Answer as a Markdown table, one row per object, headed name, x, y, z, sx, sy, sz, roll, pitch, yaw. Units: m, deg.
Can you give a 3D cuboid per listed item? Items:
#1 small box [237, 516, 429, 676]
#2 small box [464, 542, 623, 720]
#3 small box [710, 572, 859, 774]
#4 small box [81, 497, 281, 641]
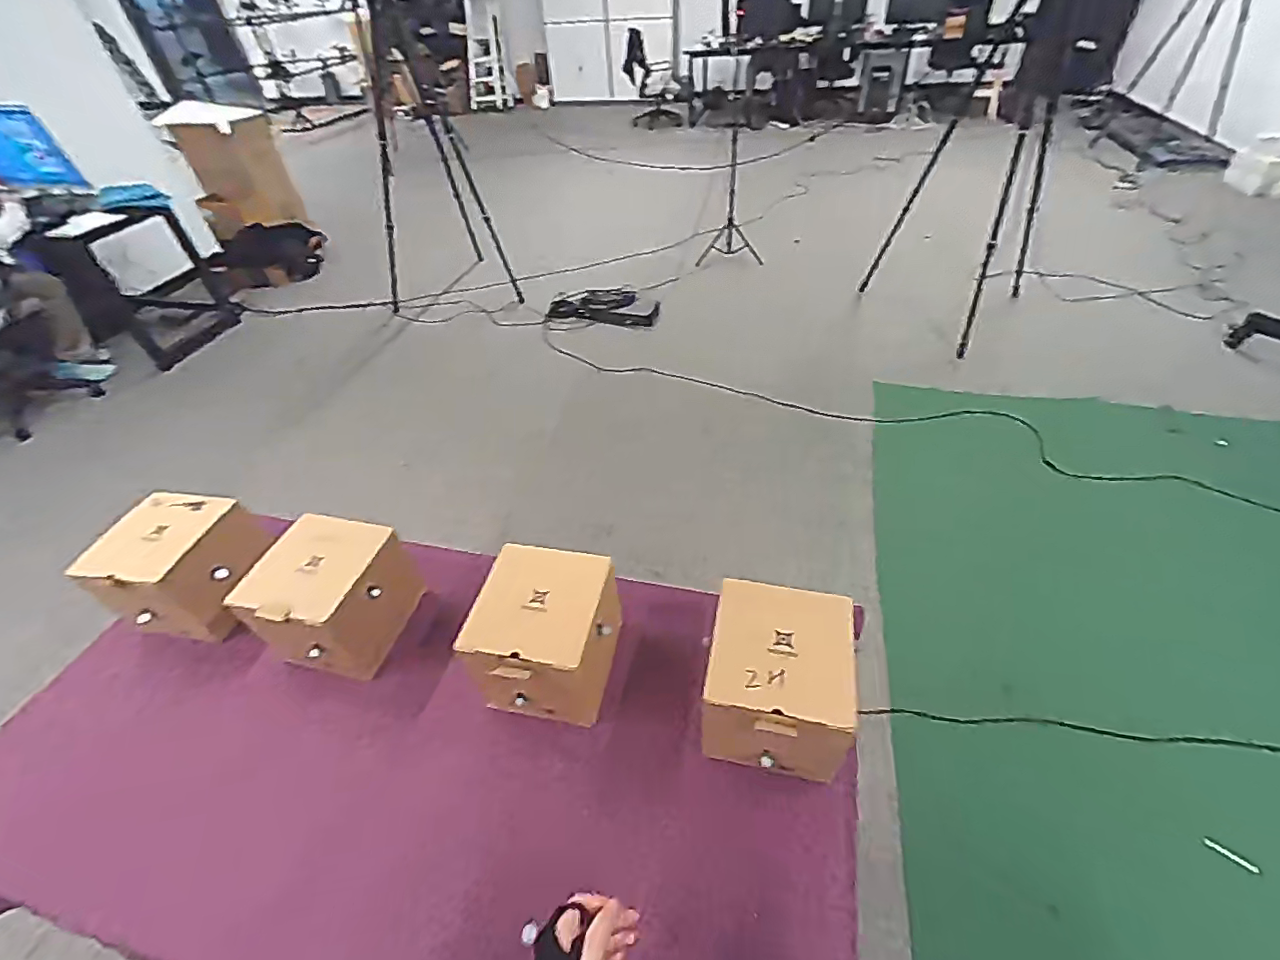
| name | x | y | z | sx | sy | sz | roll | pitch | yaw |
| --- | --- | --- | --- | --- | --- | --- | --- | --- | --- |
| small box | -0.464 | 0.184 | 0.855 | 0.168 | 0.176 | 0.179 | 8 | 46 | 13 |
| small box | -0.123 | 0.217 | 0.783 | 0.168 | 0.176 | 0.179 | 5 | 46 | 12 |
| small box | 0.184 | 0.250 | 0.707 | 0.168 | 0.176 | 0.179 | 6 | 46 | 14 |
| small box | -0.748 | 0.152 | 0.918 | 0.168 | 0.176 | 0.179 | 4 | 46 | 9 |
